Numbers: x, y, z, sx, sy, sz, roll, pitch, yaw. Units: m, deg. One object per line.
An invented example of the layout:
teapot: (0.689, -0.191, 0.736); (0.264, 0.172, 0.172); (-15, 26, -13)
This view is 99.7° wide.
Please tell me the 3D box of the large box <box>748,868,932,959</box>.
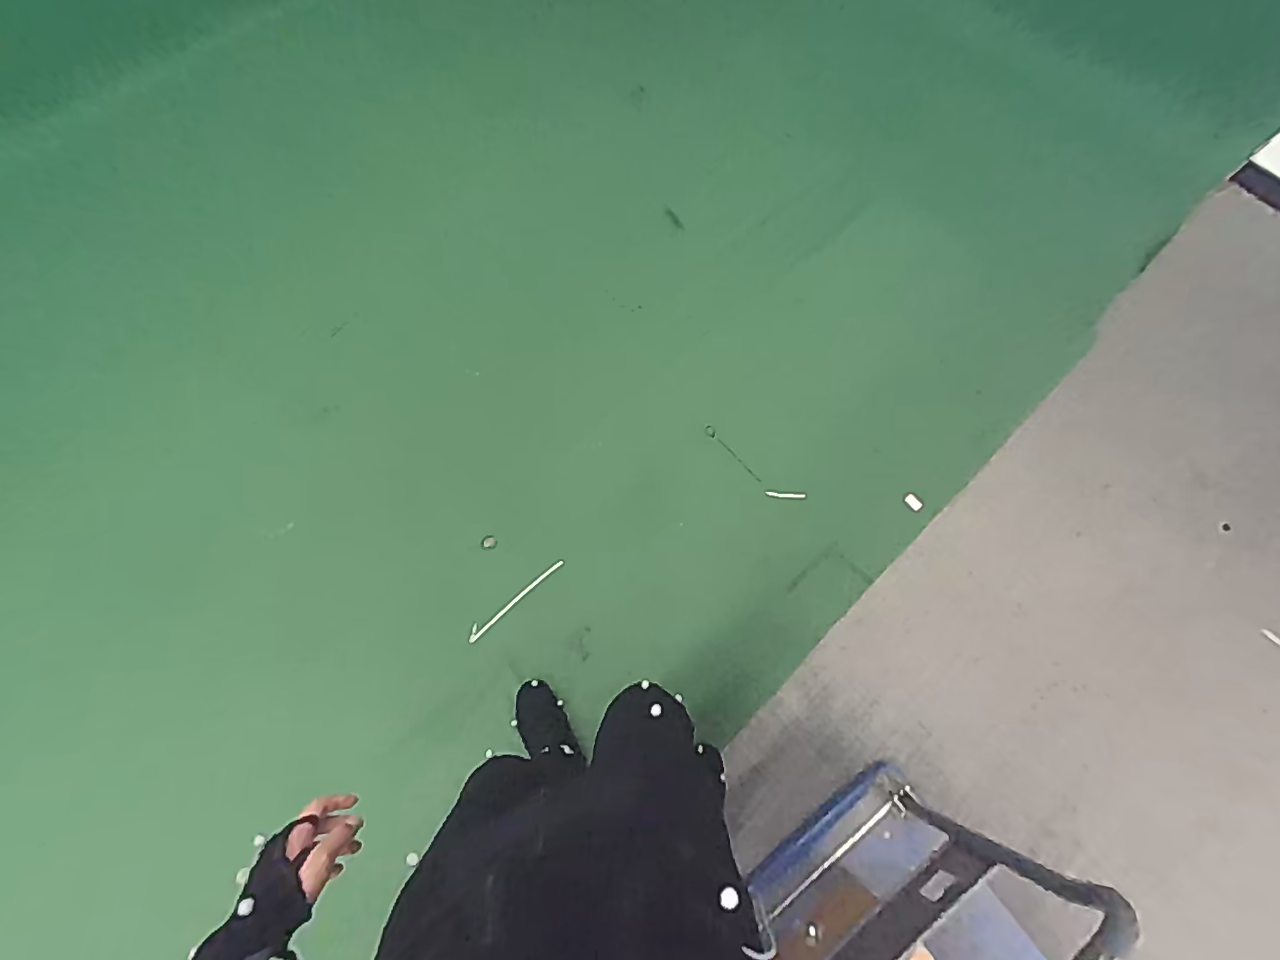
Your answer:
large box: (0.431, 1.011, 0.938); (0.320, 0.320, 0.408); (-36, 78, -11)
